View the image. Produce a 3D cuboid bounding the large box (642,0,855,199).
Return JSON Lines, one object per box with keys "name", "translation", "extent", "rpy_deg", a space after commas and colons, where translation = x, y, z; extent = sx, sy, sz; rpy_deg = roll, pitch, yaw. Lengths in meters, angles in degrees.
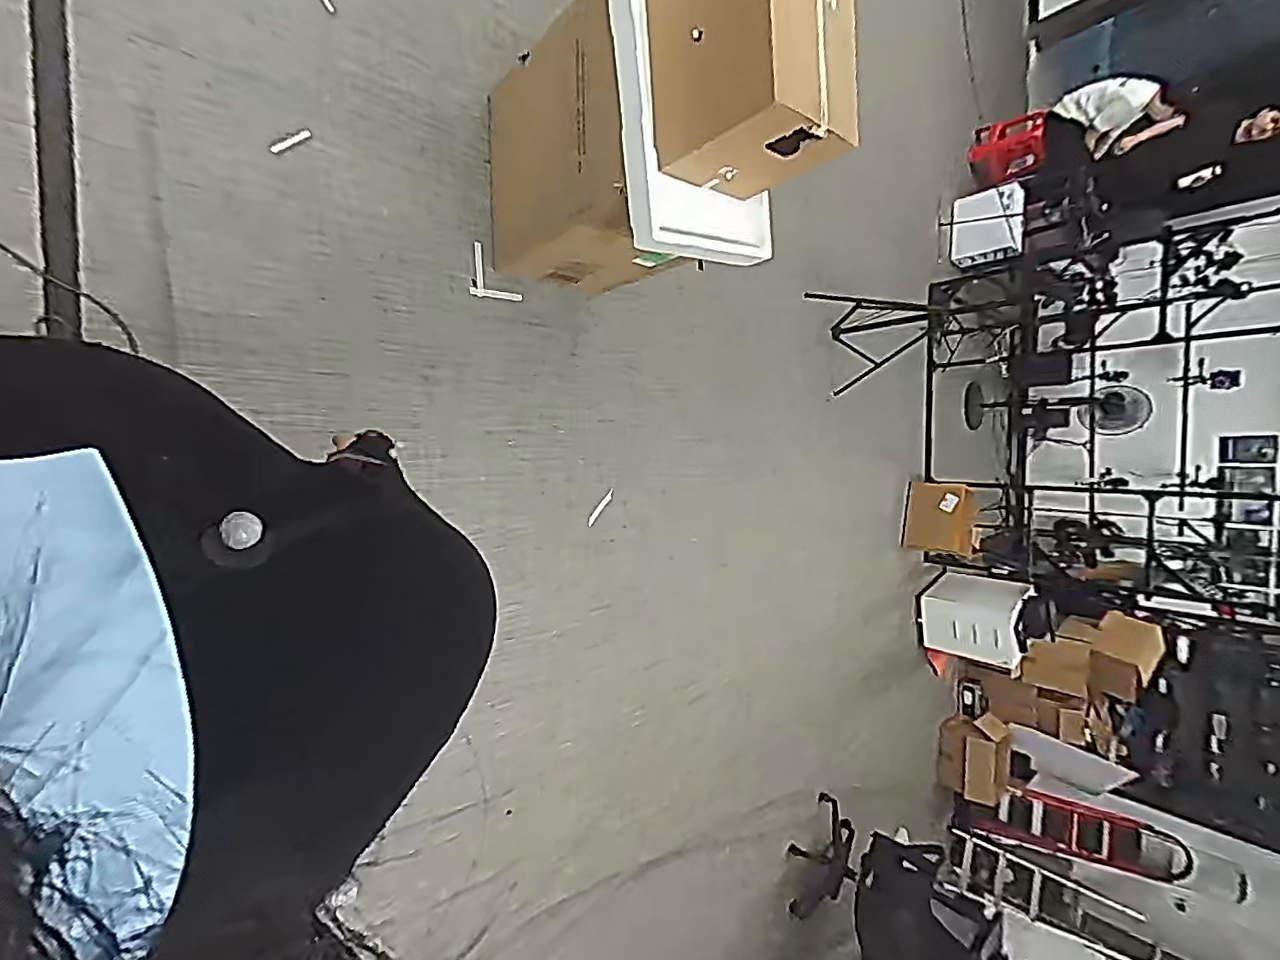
{"name": "large box", "translation": [0.230, -0.885, 1.152], "extent": [0.320, 0.320, 0.408], "rpy_deg": [-10, 97, -42]}
